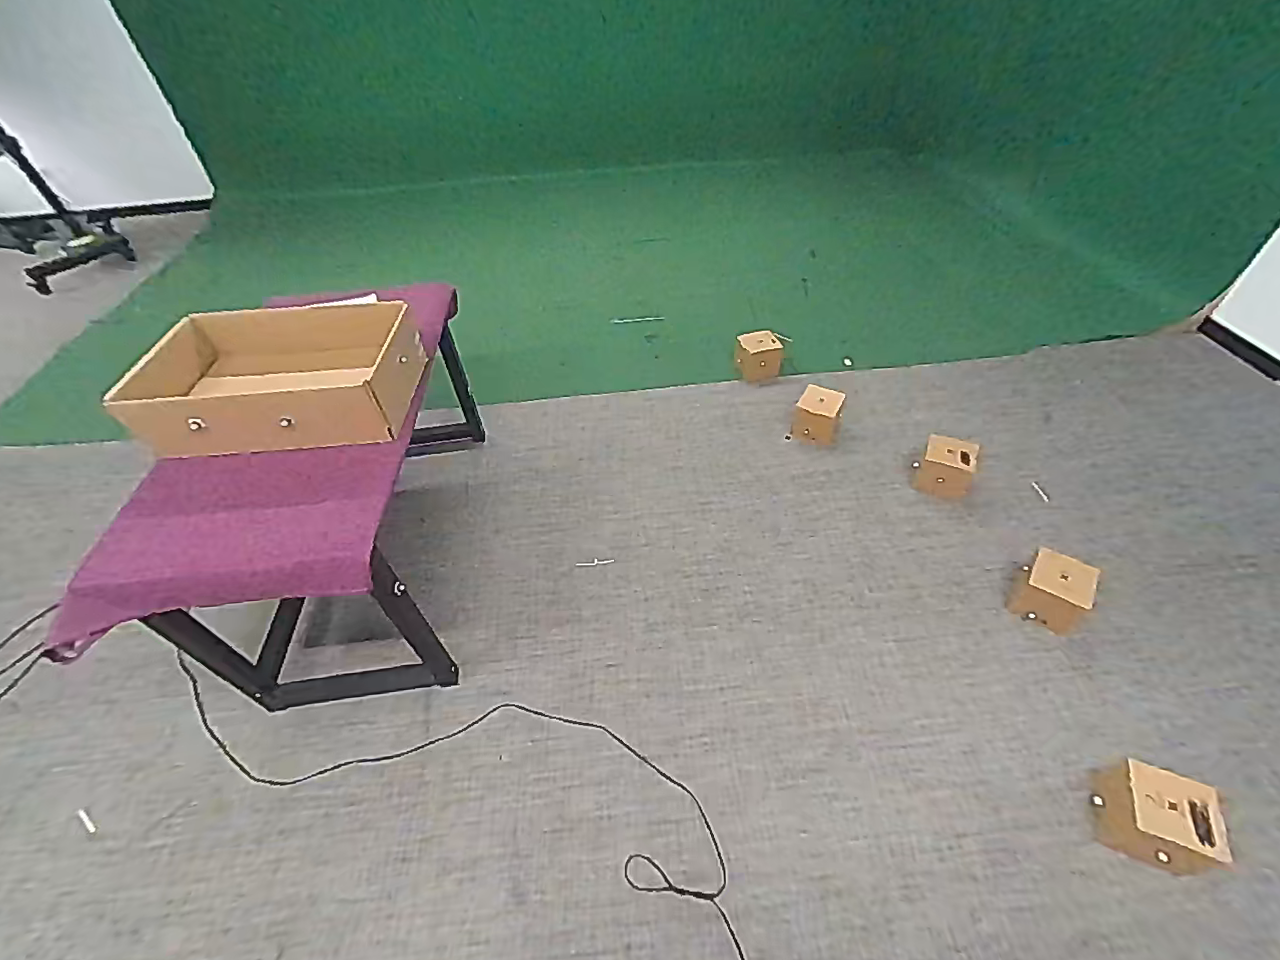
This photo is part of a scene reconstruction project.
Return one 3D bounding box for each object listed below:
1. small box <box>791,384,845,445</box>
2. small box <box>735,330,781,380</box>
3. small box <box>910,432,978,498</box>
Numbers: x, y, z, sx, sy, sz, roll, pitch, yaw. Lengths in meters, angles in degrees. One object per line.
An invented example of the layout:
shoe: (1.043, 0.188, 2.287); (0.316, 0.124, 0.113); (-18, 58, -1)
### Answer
small box: (0.770, -0.284, 2.349); (0.168, 0.176, 0.179); (21, 53, 22)
small box: (0.577, -0.612, 2.667); (0.179, 0.176, 0.168); (-14, 47, -9)
small box: (1.182, -0.053, 2.103); (0.179, 0.176, 0.168); (18, 51, 20)
